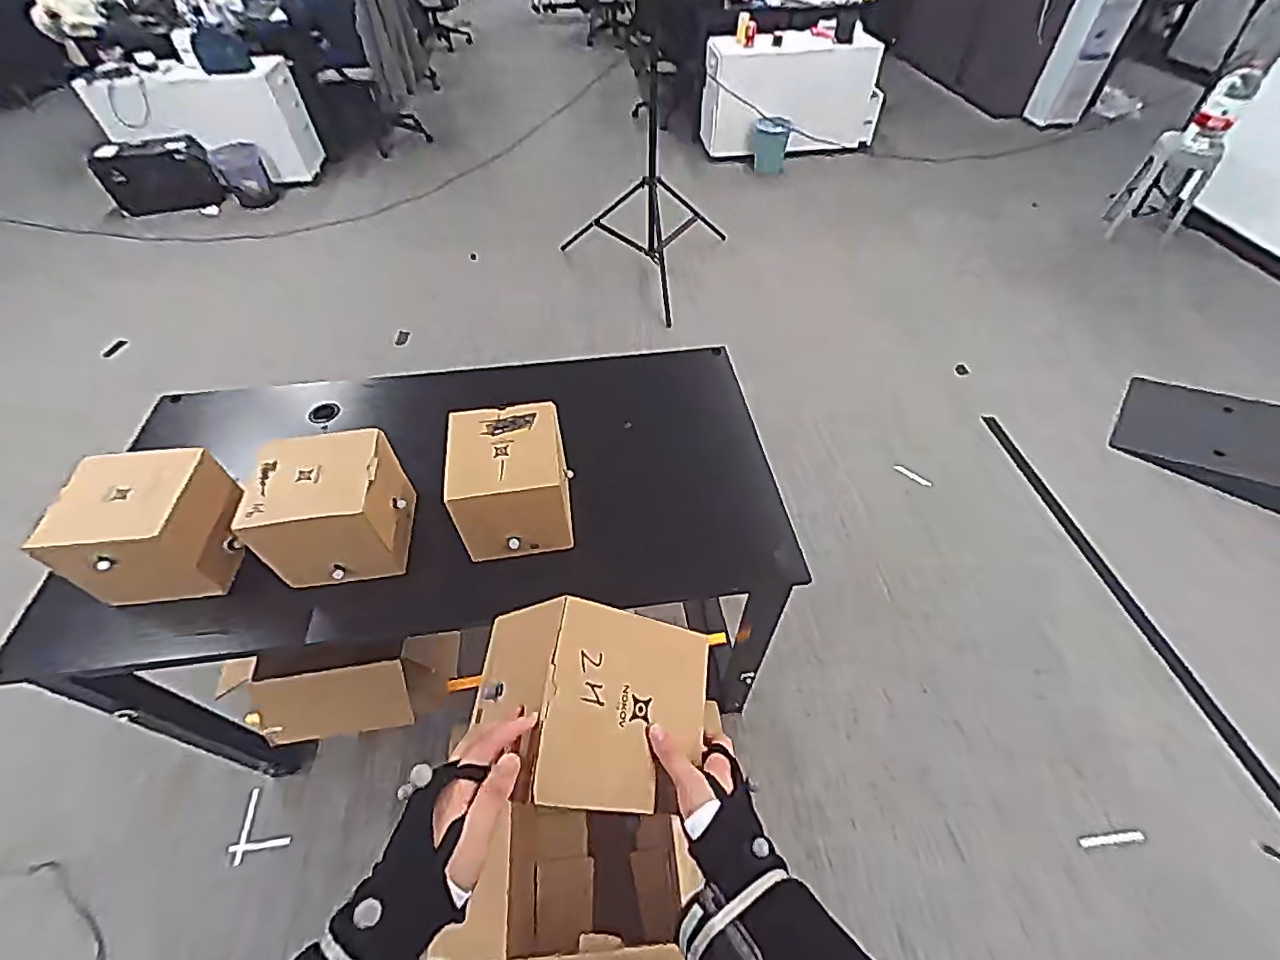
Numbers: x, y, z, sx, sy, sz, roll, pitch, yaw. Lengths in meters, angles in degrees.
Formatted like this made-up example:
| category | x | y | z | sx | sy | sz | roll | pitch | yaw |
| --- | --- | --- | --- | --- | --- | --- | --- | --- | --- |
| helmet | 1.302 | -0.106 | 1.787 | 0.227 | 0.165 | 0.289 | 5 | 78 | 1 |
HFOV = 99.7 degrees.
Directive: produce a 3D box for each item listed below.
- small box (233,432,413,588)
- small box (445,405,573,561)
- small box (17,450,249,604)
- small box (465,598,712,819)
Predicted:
| category | x | y | z | sx | sy | sz | roll | pitch | yaw |
| --- | --- | --- | --- | --- | --- | --- | --- | --- | --- |
| small box | -0.468 | 0.049 | 0.837 | 0.179 | 0.176 | 0.168 | -7 | 50 | -6 |
| small box | -0.202 | 0.006 | 0.868 | 0.168 | 0.176 | 0.179 | -8 | 51 | -5 |
| small box | -0.730 | 0.075 | 0.817 | 0.179 | 0.176 | 0.168 | -4 | 51 | -4 |
| small box | -0.050 | 0.230 | 0.542 | 0.179 | 0.176 | 0.168 | 22 | 58 | -28 |
